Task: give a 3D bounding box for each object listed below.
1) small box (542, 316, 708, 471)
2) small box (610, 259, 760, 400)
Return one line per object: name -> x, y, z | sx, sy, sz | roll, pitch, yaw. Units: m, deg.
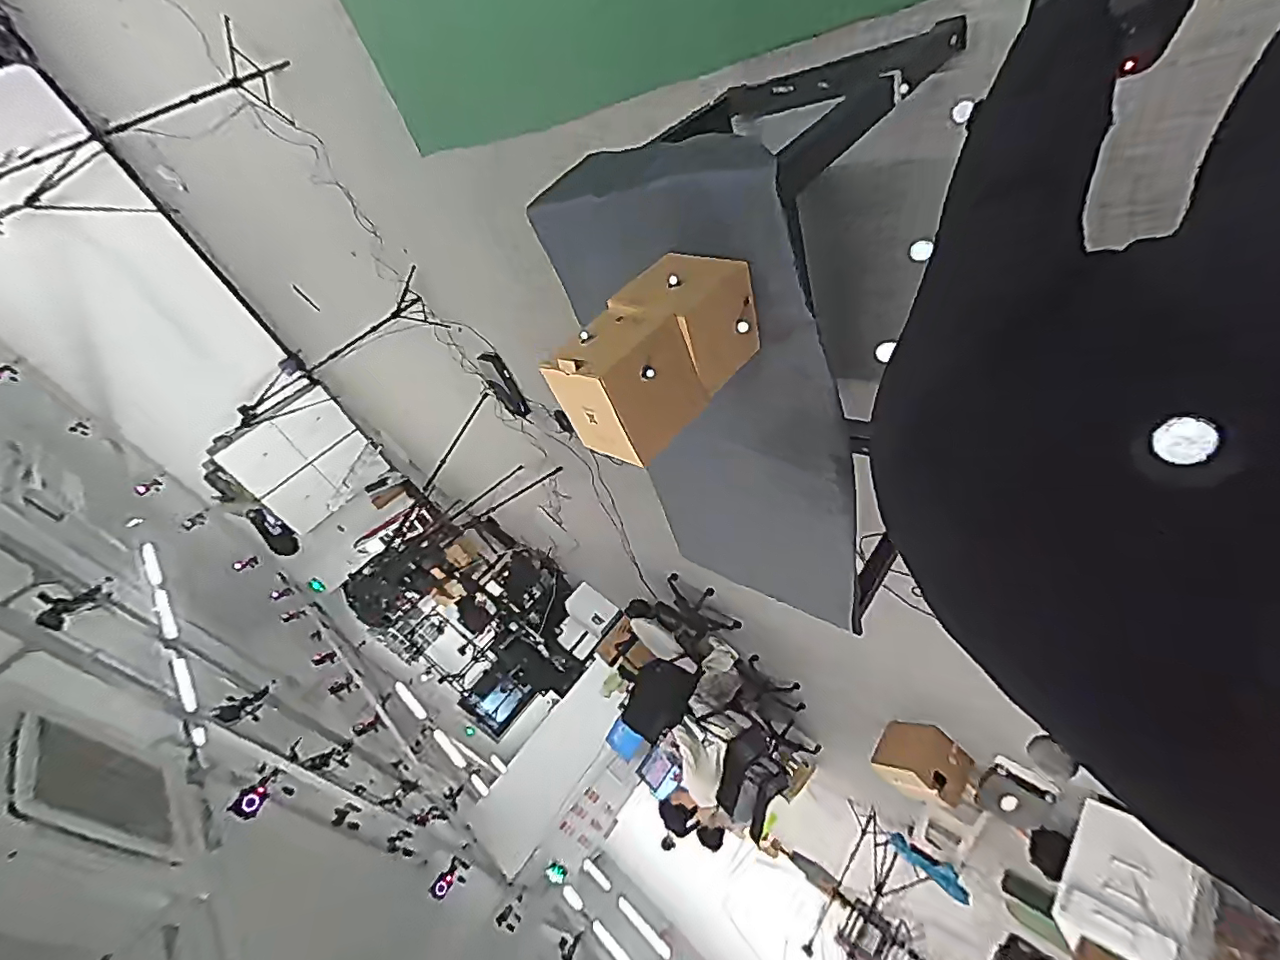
small box -> -0.019, -0.148, 0.876 | 0.168, 0.176, 0.179 | 22, 150, 46
small box -> 0.083, -0.261, 0.932 | 0.179, 0.176, 0.168 | 25, 151, 38
